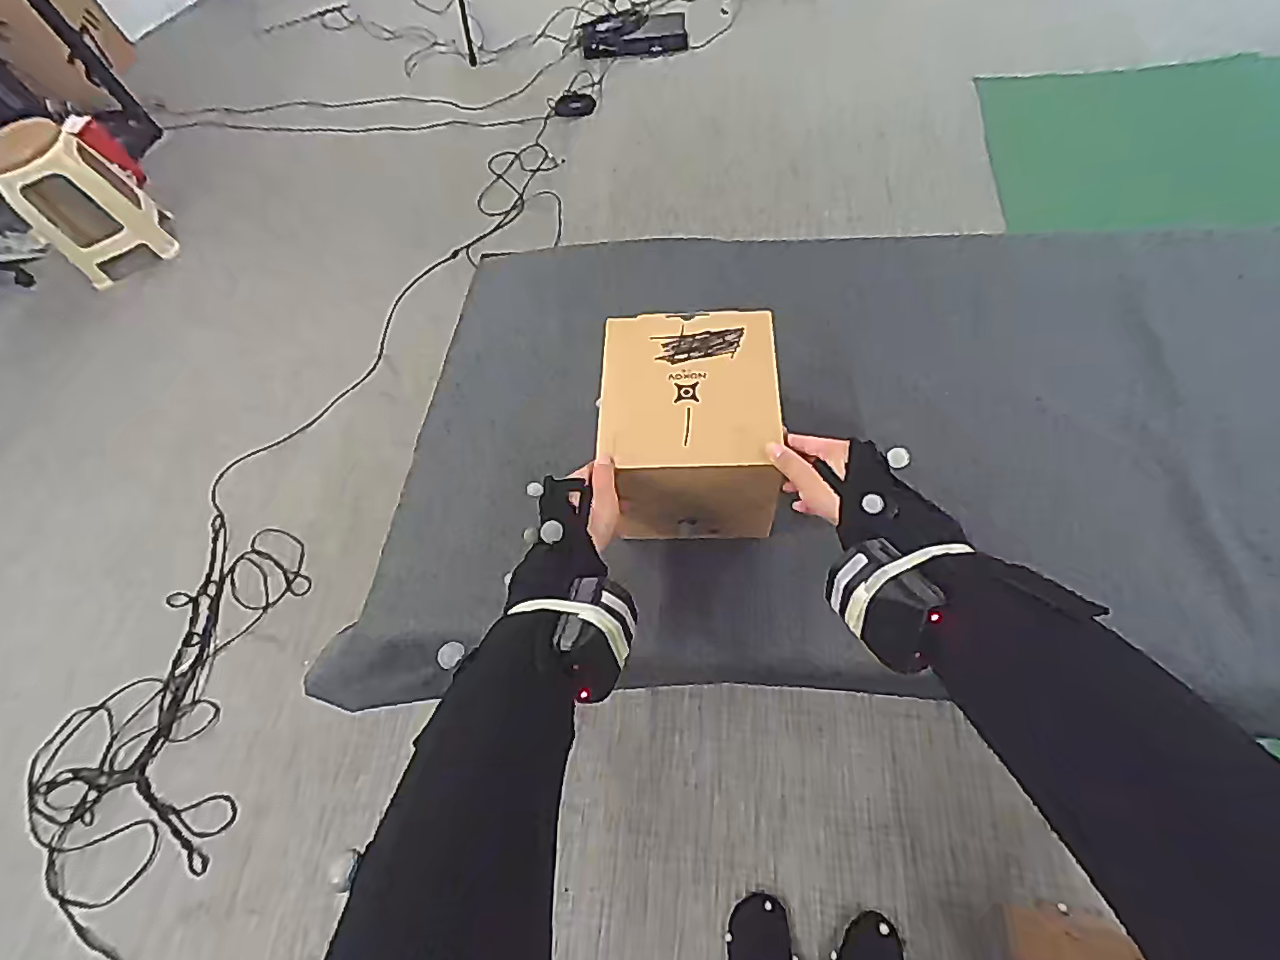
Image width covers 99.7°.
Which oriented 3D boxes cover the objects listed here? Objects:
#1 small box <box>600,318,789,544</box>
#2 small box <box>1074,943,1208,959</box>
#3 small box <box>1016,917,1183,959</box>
[{"bbox_3d":[0.058,-0.044,0.573,0.168,0.176,0.179,-2,61,8],"label":"small box"},{"bbox_3d":[0.722,0.730,0.698,0.179,0.176,0.168,-1,61,8],"label":"small box"},{"bbox_3d":[0.725,0.807,0.844,0.179,0.176,0.168,1,60,9],"label":"small box"}]
